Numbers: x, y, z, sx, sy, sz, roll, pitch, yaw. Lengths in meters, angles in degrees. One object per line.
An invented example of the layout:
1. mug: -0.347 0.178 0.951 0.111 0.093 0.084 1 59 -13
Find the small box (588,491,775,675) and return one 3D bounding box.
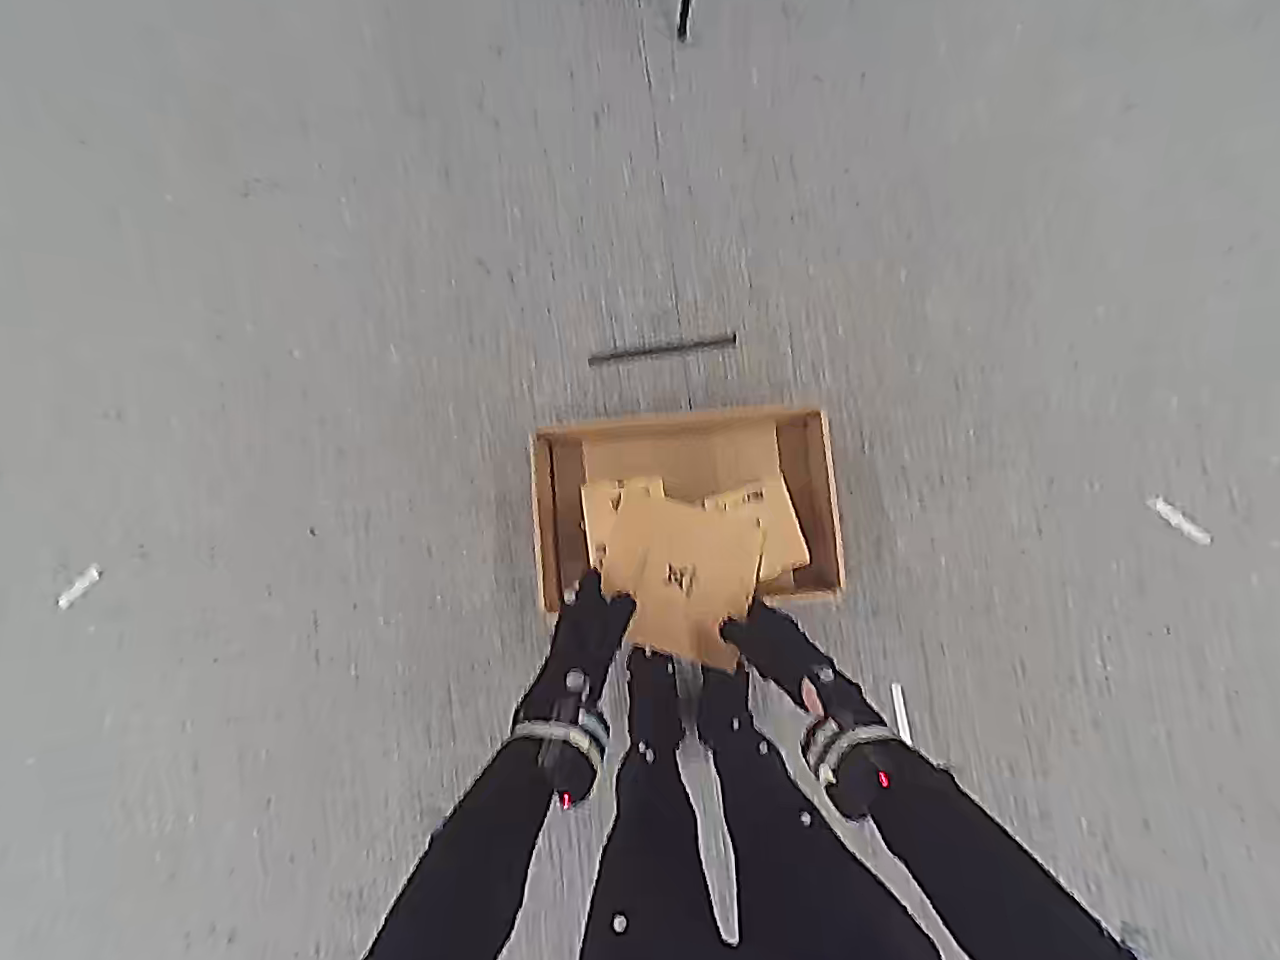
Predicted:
1. small box: 0.044 0.125 0.669 0.179 0.176 0.168 15 77 0

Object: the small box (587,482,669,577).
1. small box: -0.018 0.108 1.150 0.168 0.176 0.179 -7 84 0
